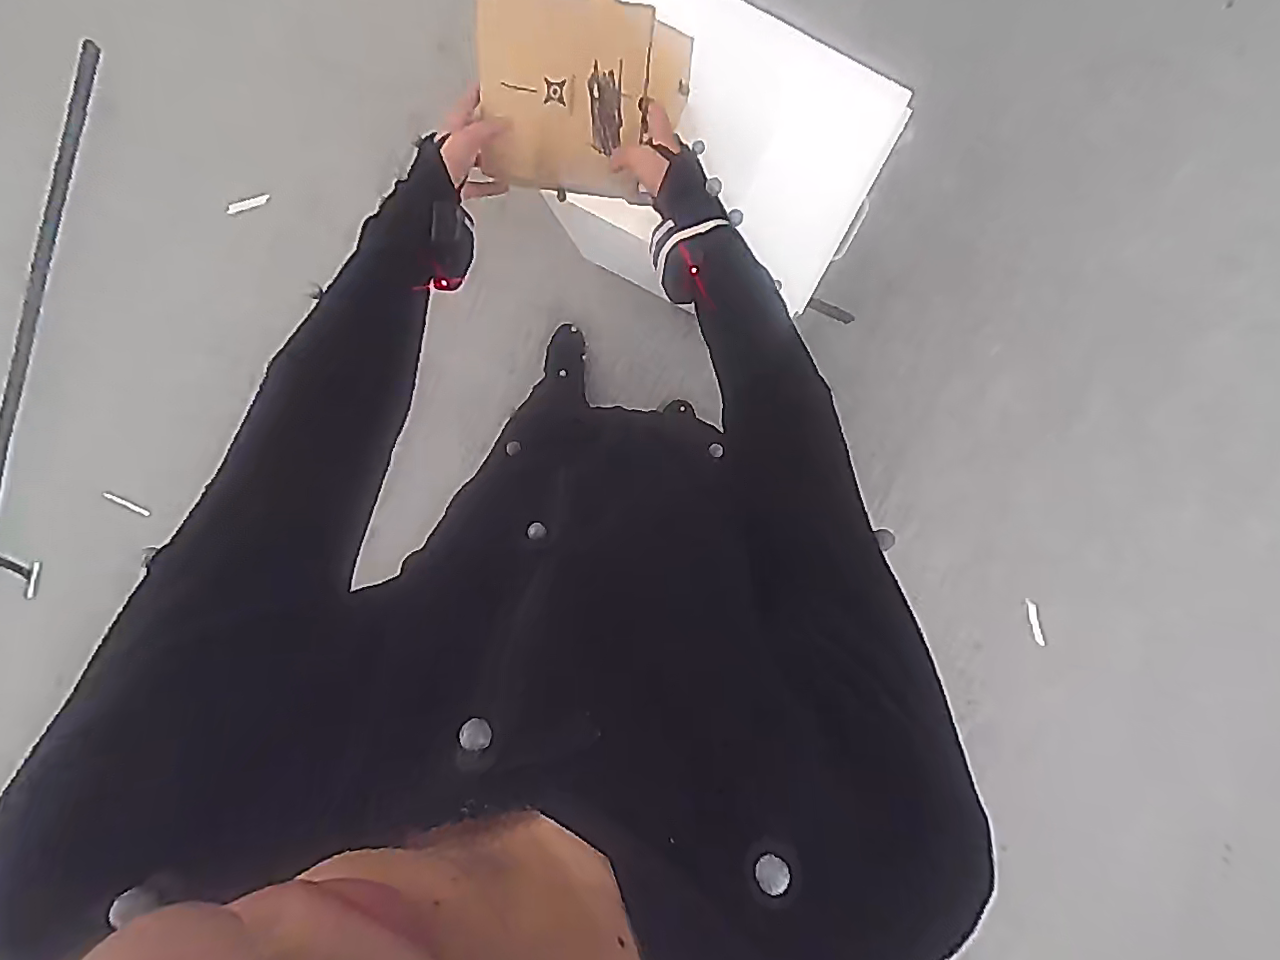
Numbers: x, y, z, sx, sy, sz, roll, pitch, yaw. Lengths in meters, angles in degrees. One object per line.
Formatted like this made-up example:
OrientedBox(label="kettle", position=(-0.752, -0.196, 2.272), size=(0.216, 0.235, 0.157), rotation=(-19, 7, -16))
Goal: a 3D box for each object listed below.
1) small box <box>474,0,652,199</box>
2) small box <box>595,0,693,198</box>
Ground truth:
OrientedBox(label="small box", position=(-0.080, -0.429, 0.628), size=(0.179, 0.176, 0.168), rotation=(7, 115, 0))
OrientedBox(label="small box", position=(-0.035, -0.568, 0.818), size=(0.168, 0.176, 0.179), rotation=(25, 101, -2))
